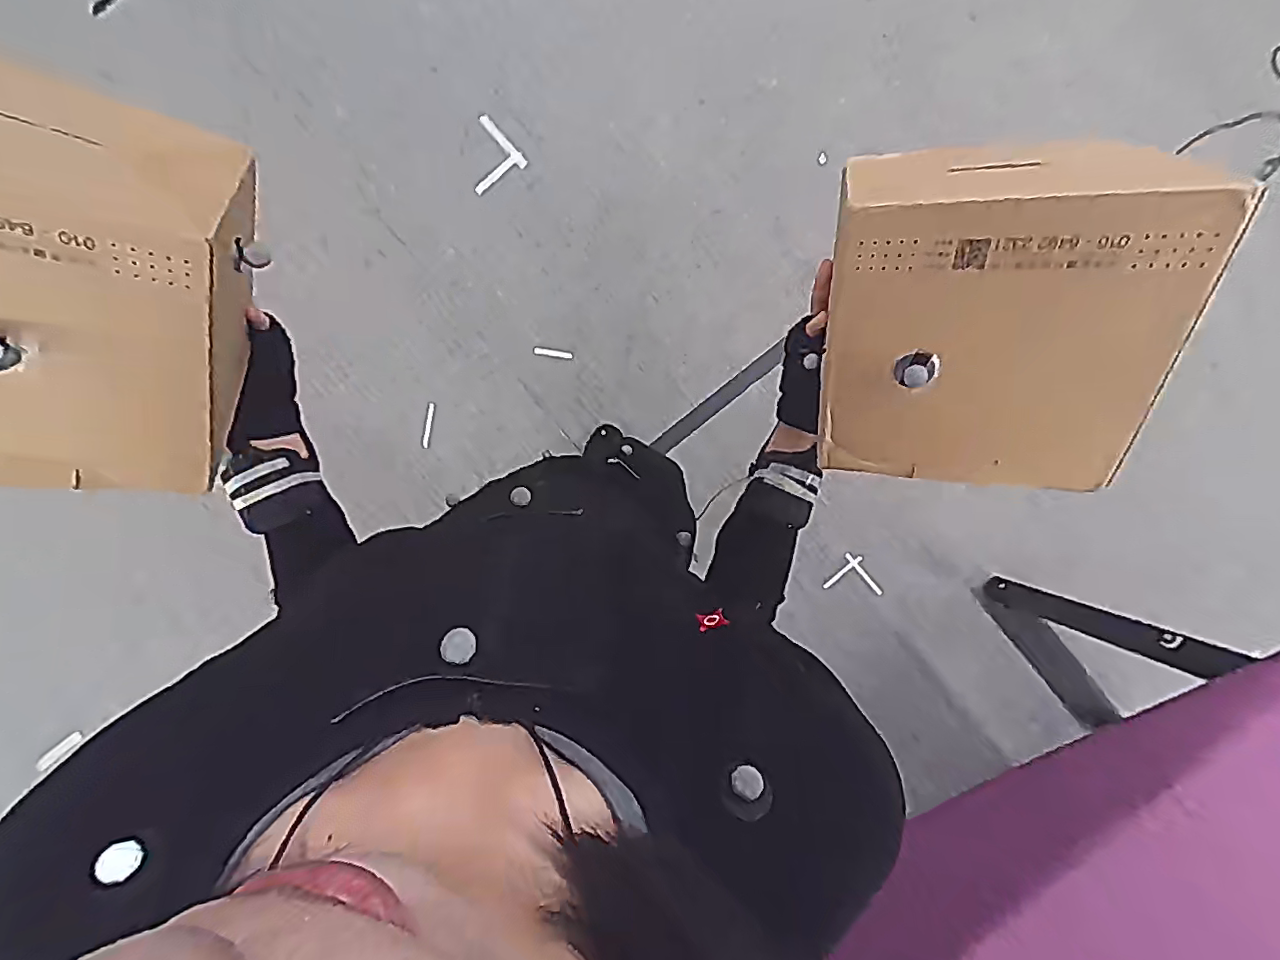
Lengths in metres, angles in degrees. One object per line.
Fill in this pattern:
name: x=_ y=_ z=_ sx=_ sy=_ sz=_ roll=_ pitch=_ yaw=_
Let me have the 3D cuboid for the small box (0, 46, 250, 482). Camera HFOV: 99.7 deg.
small box: x=-0.327 y=-0.122 z=0.298 sx=0.168 sy=0.179 sz=0.176 roll=7 pitch=127 yaw=-32

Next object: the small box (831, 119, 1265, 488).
small box: x=0.218 y=-0.119 z=0.346 sx=0.168 sy=0.179 sz=0.176 roll=7 pitch=129 yaw=16
